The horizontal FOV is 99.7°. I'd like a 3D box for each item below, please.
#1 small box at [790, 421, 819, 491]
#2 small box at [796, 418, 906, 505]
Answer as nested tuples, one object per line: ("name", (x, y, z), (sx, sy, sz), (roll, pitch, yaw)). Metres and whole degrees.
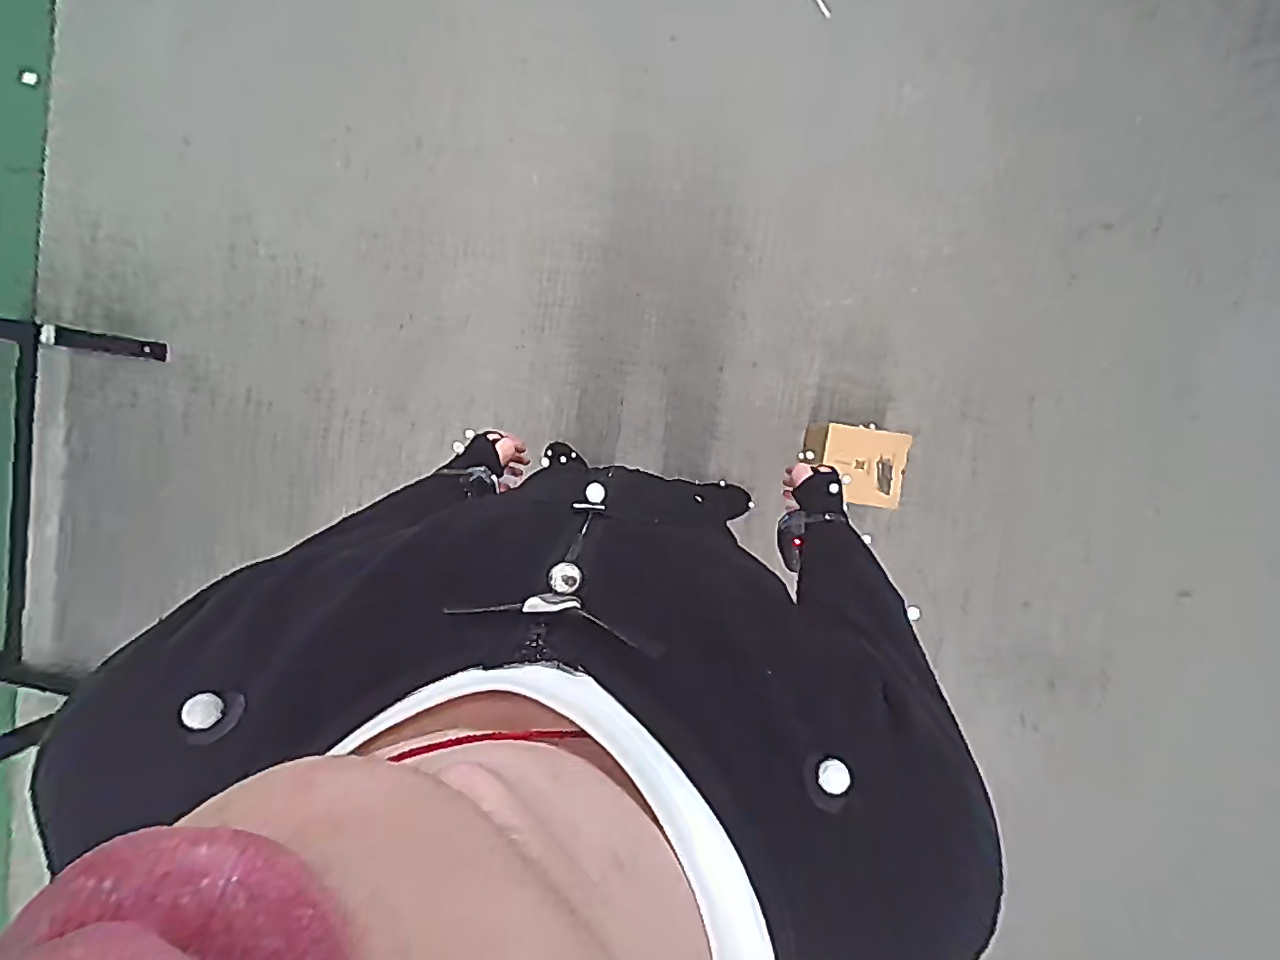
("small box", (0.508, -0.061, 1.454), (0.168, 0.176, 0.179), (8, 95, 5))
("small box", (0.486, -0.047, 1.269), (0.179, 0.176, 0.168), (12, 94, 3))
